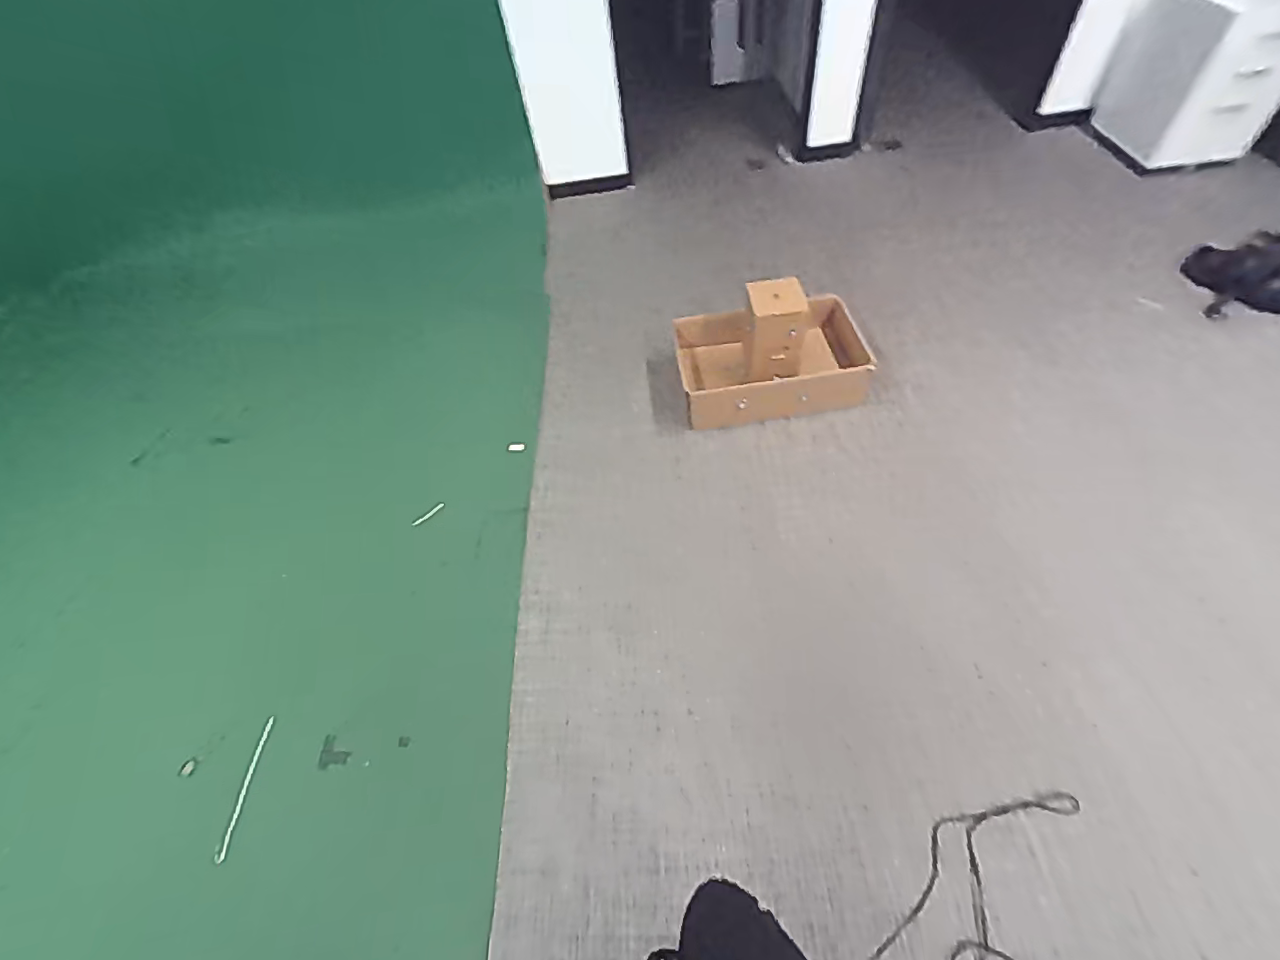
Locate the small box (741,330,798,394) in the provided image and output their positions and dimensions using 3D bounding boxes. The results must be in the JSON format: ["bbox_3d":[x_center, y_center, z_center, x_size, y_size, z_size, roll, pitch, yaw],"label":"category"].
[{"bbox_3d":[0.445,-0.412,1.876,0.168,0.176,0.179,-7,52,4],"label":"small box"}]

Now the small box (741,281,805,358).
[{"bbox_3d":[0.425,-0.512,1.749,0.168,0.176,0.179,-7,51,3],"label":"small box"}]
